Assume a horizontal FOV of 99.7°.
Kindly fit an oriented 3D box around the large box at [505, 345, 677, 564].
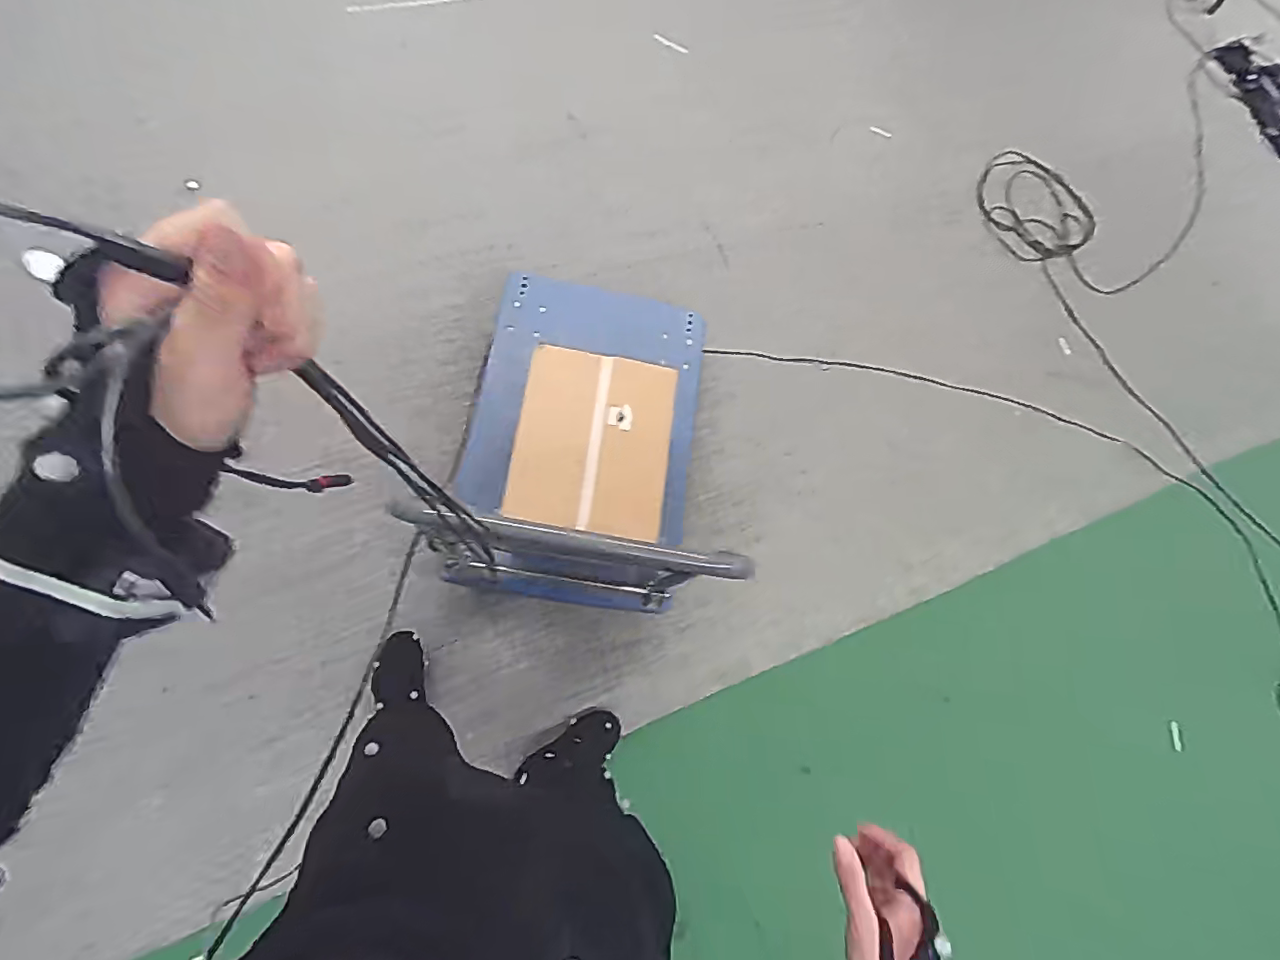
[{"bbox_3d":[-0.113,-0.036,1.244,0.320,0.320,0.408,9,73,-8],"label":"large box"}]
